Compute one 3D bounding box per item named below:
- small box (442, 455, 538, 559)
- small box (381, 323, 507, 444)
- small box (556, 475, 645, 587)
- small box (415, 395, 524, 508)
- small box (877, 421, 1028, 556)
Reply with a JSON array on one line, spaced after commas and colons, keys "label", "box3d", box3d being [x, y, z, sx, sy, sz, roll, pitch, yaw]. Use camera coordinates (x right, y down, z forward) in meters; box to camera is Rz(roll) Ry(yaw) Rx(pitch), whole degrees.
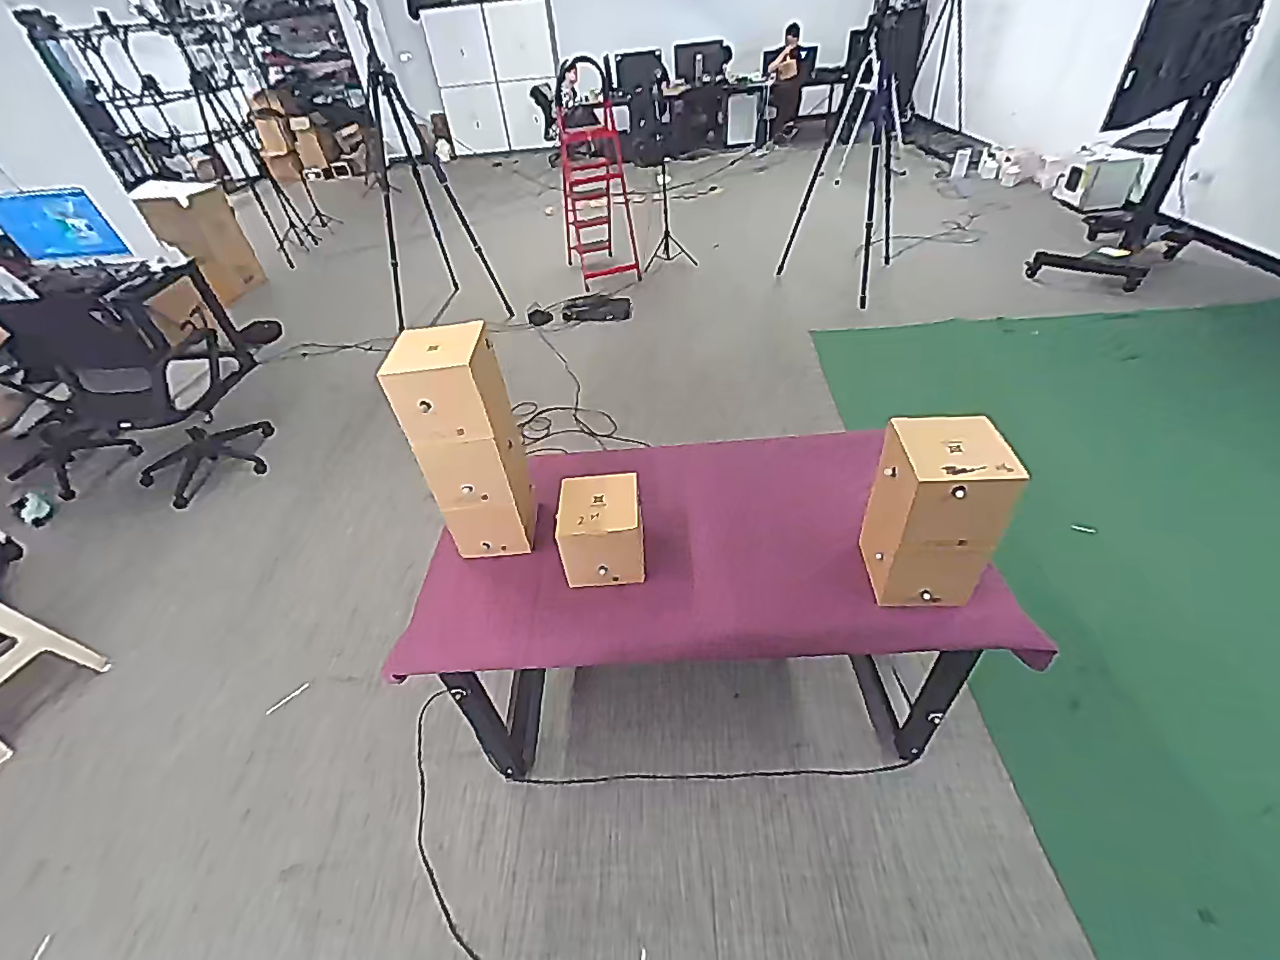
[{"label": "small box", "box3d": [-0.340, 0.062, 1.266, 0.168, 0.176, 0.179, -5, 42, 2]}, {"label": "small box", "box3d": [-0.368, -0.182, 1.053, 0.168, 0.176, 0.179, -6, 41, 2]}, {"label": "small box", "box3d": [-0.079, 0.111, 1.176, 0.168, 0.176, 0.179, -4, 41, 3]}, {"label": "small box", "box3d": [-0.353, -0.061, 1.160, 0.168, 0.176, 0.179, -6, 42, 2]}, {"label": "small box", "box3d": [0.532, 0.013, 0.954, 0.168, 0.176, 0.179, -2, 40, 8]}]
